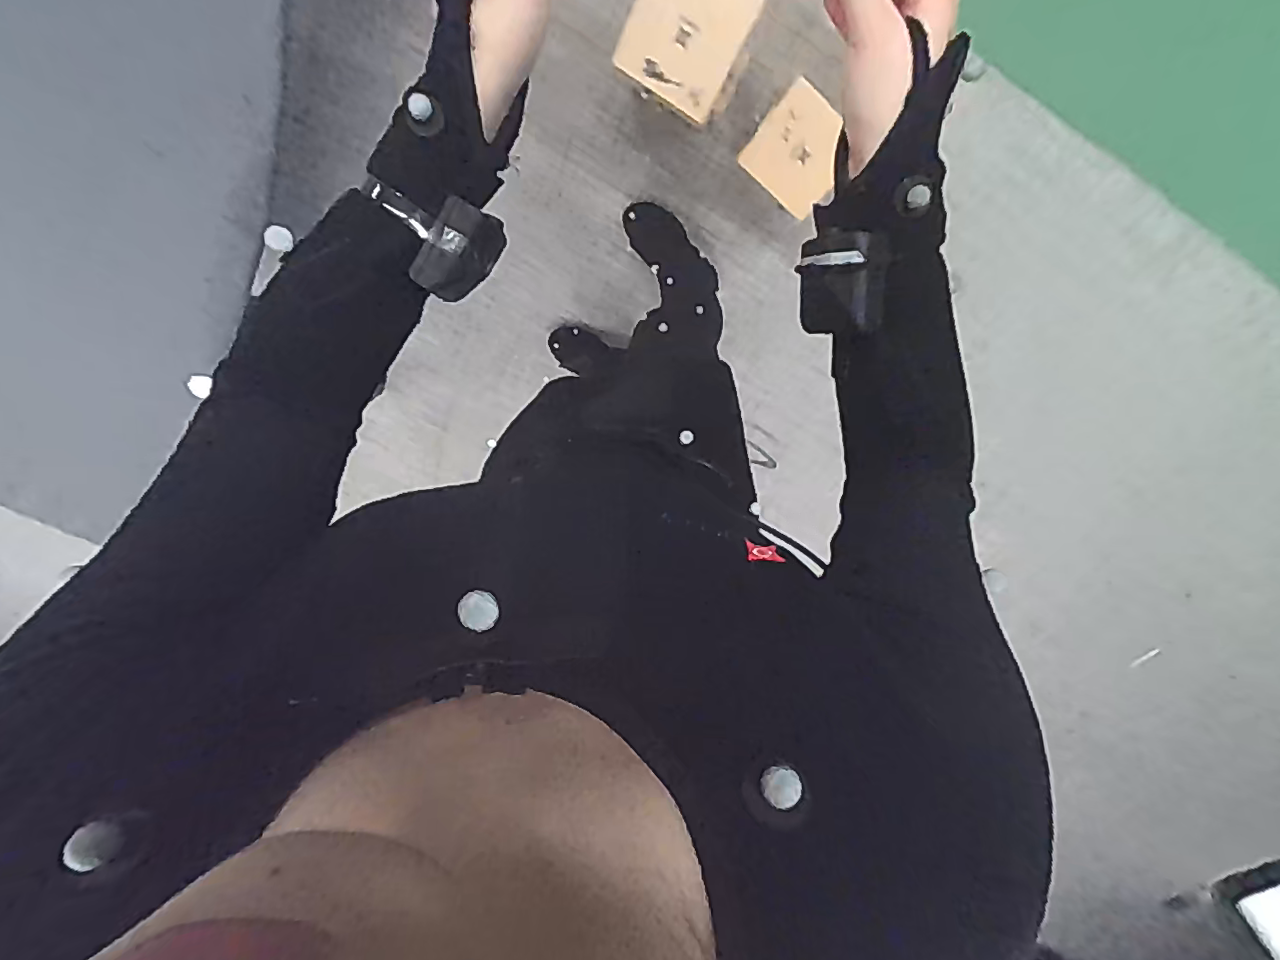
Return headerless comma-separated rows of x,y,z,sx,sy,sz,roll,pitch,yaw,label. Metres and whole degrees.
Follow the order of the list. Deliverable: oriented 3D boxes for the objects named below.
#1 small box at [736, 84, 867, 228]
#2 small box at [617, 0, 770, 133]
0.308,-0.636,1.066,0.179,0.176,0.168,36,118,-15,small box
0.080,-0.691,0.865,0.168,0.176,0.179,28,119,-12,small box
